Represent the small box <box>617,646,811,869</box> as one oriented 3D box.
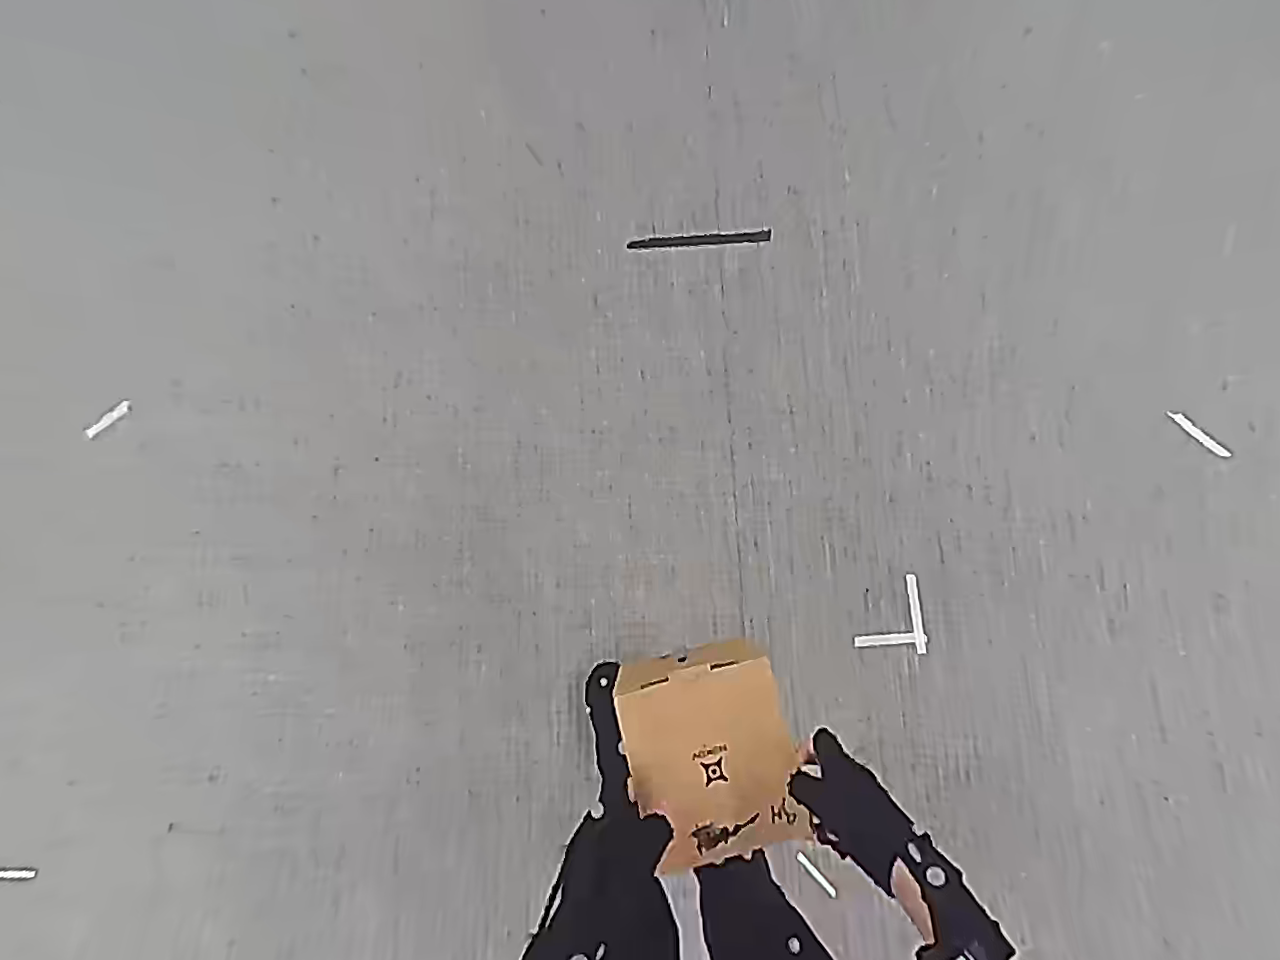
[{"bbox_3d":[0.071,0.296,0.624,0.168,0.176,0.179,-13,78,-3],"label":"small box"}]
